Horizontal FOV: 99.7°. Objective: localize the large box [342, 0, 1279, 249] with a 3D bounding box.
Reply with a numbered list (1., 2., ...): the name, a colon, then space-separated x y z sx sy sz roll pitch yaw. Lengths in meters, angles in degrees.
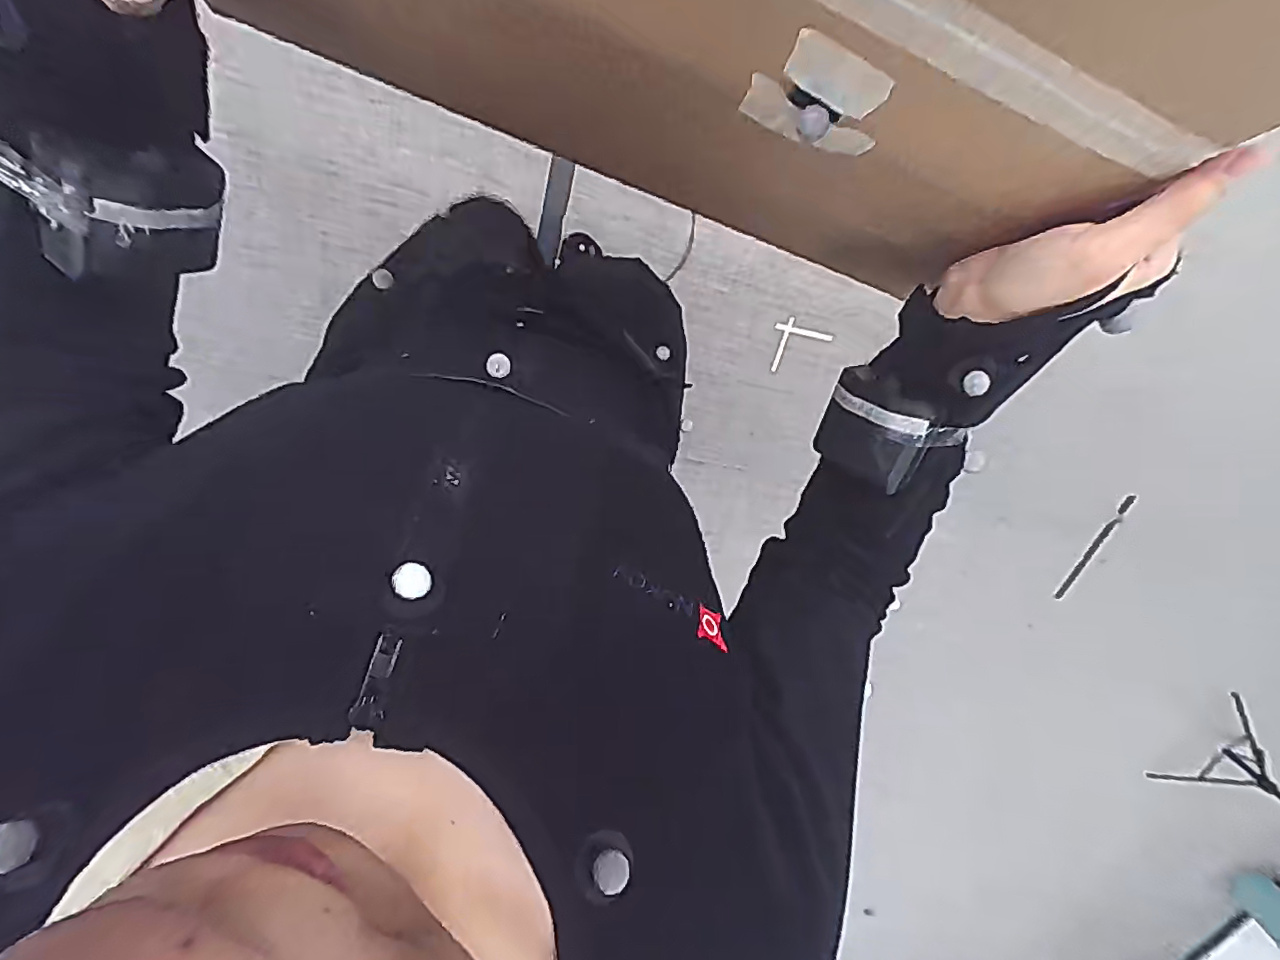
1. large box: 0.071 -0.336 0.148 0.408 0.320 0.320 15 86 -14
